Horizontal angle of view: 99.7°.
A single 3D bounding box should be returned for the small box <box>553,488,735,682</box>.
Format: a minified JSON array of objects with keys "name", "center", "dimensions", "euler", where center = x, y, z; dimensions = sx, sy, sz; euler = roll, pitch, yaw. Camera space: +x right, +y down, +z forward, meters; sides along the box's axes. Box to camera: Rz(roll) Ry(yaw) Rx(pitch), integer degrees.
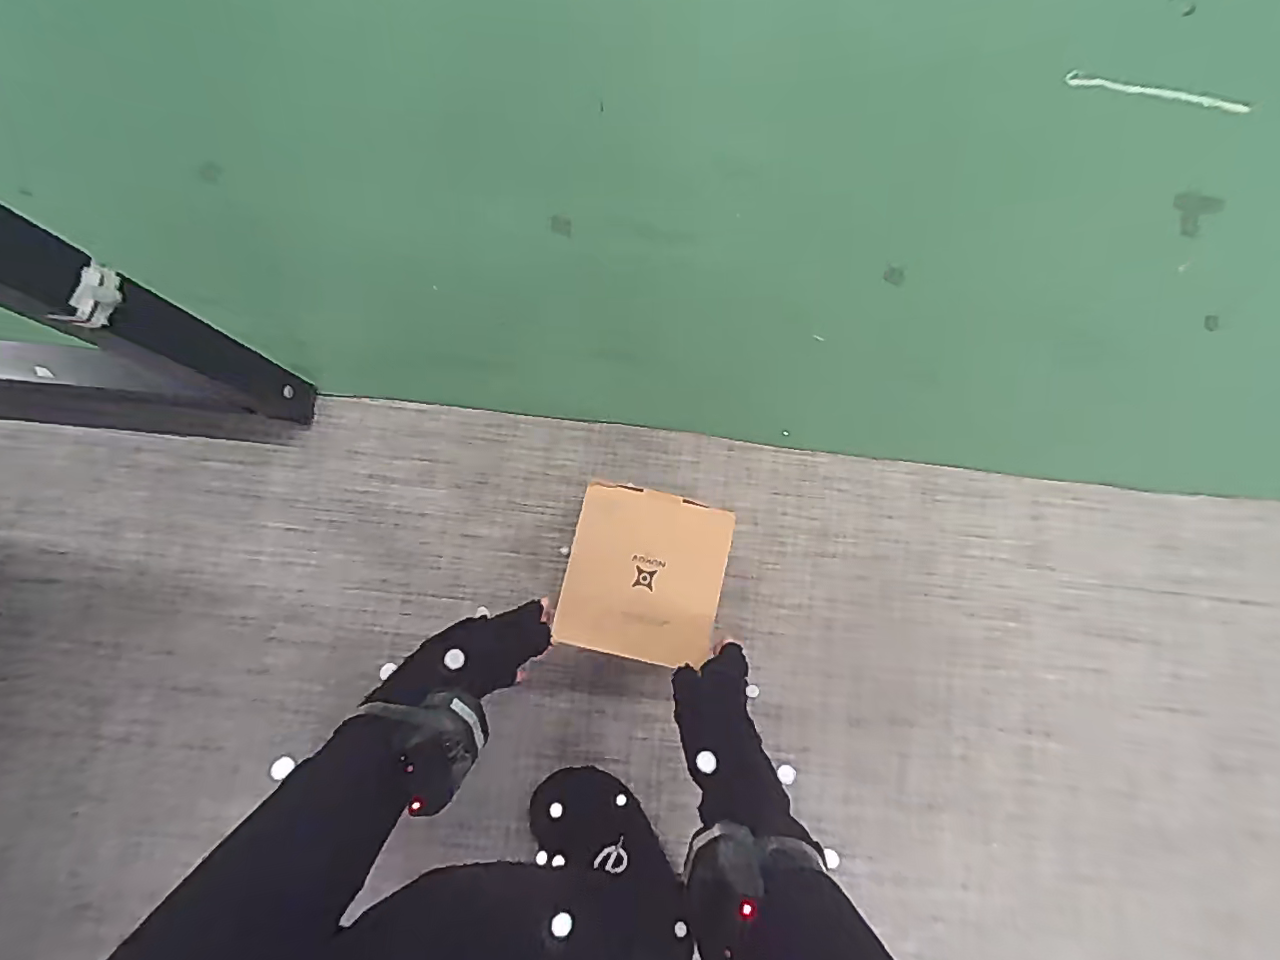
[{"name":"small box","center":[0.003,0.120,0.650],"dimensions":[0.168,0.176,0.179],"euler":[13,82,0]}]
